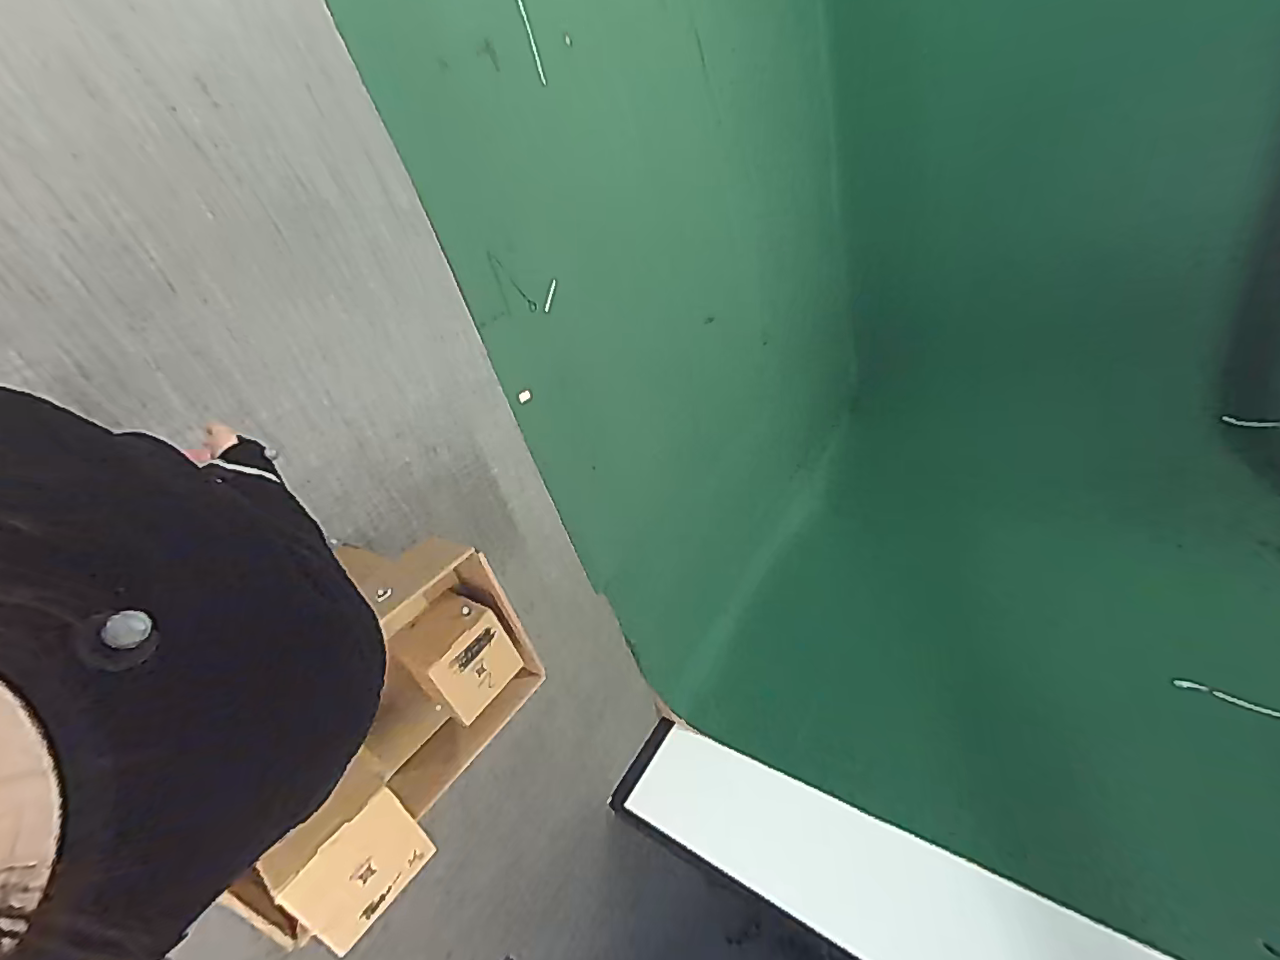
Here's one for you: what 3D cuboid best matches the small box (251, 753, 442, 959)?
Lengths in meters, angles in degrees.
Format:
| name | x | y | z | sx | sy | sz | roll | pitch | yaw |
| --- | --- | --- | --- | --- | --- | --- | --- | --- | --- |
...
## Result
| name | x | y | z | sx | sy | sz | roll | pitch | yaw |
| --- | --- | --- | --- | --- | --- | --- | --- | --- | --- |
| small box | -0.444 | 0.549 | 0.819 | 0.168 | 0.176 | 0.179 | -40 | 124 | -38 |
